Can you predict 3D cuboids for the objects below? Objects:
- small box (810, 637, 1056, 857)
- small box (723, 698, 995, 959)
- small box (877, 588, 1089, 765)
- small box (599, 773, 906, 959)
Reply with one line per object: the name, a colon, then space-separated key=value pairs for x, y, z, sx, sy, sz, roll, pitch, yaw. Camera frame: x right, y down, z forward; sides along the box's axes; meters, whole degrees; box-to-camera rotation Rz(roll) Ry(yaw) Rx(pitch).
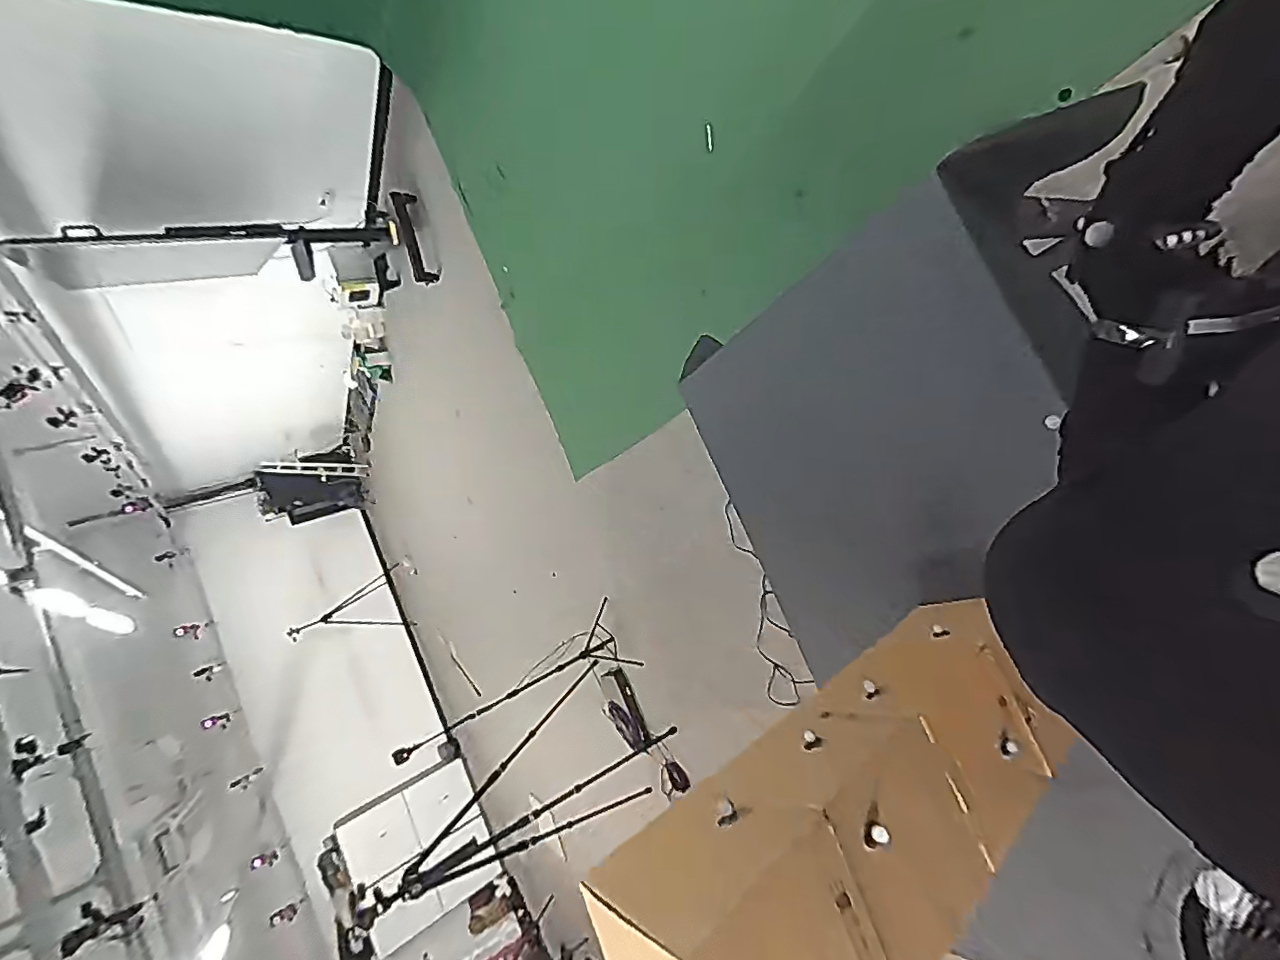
small box: x=0.353 y=0.307 z=0.661 sx=0.179 sy=0.176 sz=0.168 roll=-34 pitch=78 yaw=55
small box: x=0.225 y=0.349 z=0.566 sx=0.168 sy=0.176 sz=0.179 roll=-31 pitch=80 yaw=55
small box: x=0.480 y=0.264 z=0.753 sx=0.179 sy=0.176 sz=0.168 roll=-35 pitch=77 yaw=56
small box: x=0.095 y=0.389 z=0.475 sx=0.179 sy=0.176 sz=0.168 roll=-30 pitch=81 yaw=55
